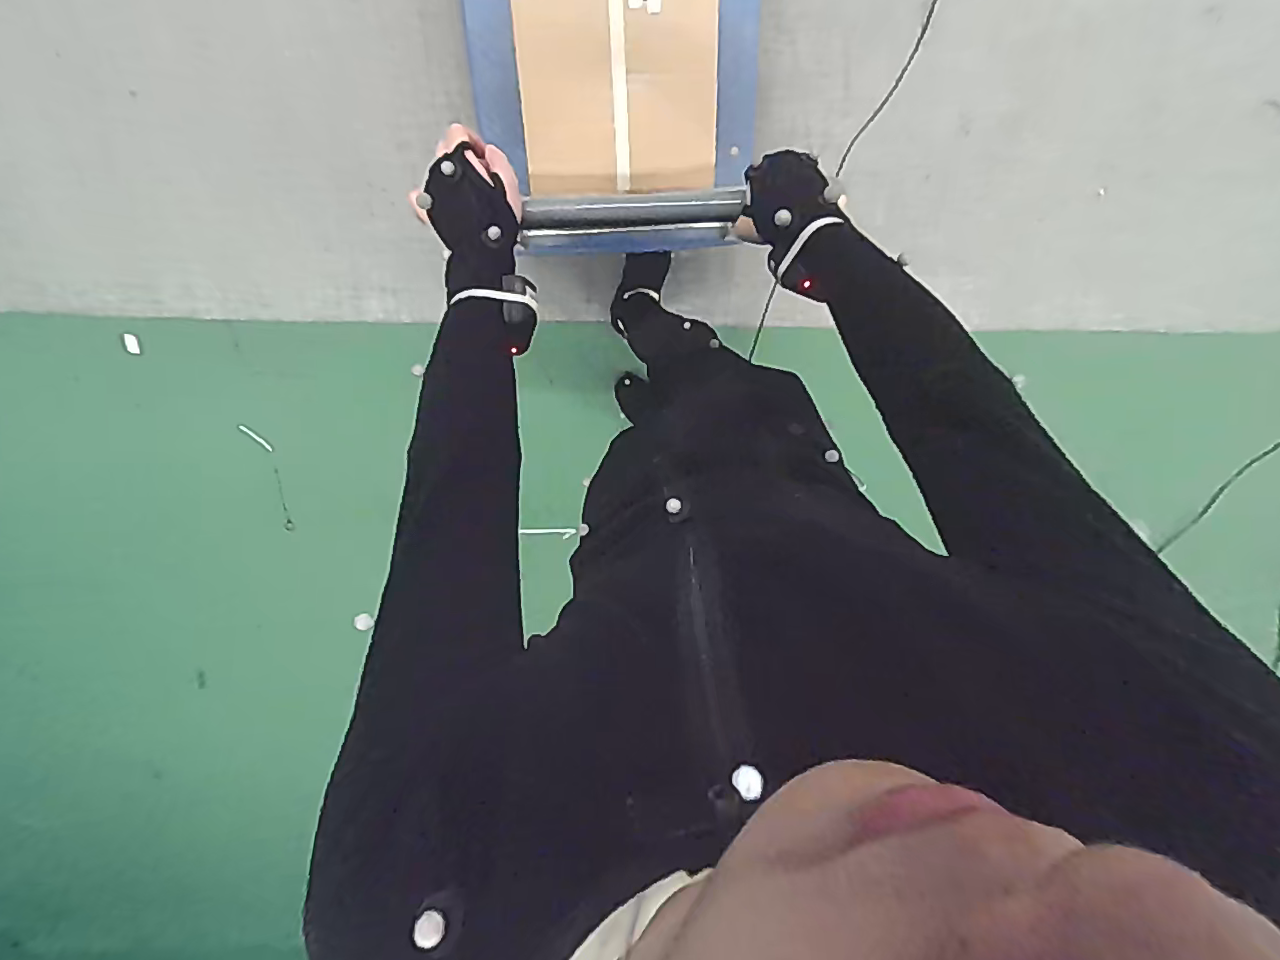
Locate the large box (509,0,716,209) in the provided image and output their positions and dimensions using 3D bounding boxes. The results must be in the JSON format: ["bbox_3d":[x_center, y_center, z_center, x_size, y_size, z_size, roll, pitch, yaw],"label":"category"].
[{"bbox_3d":[-0.040,-0.726,0.969,0.320,0.320,0.408,-3,114,-1],"label":"large box"}]
